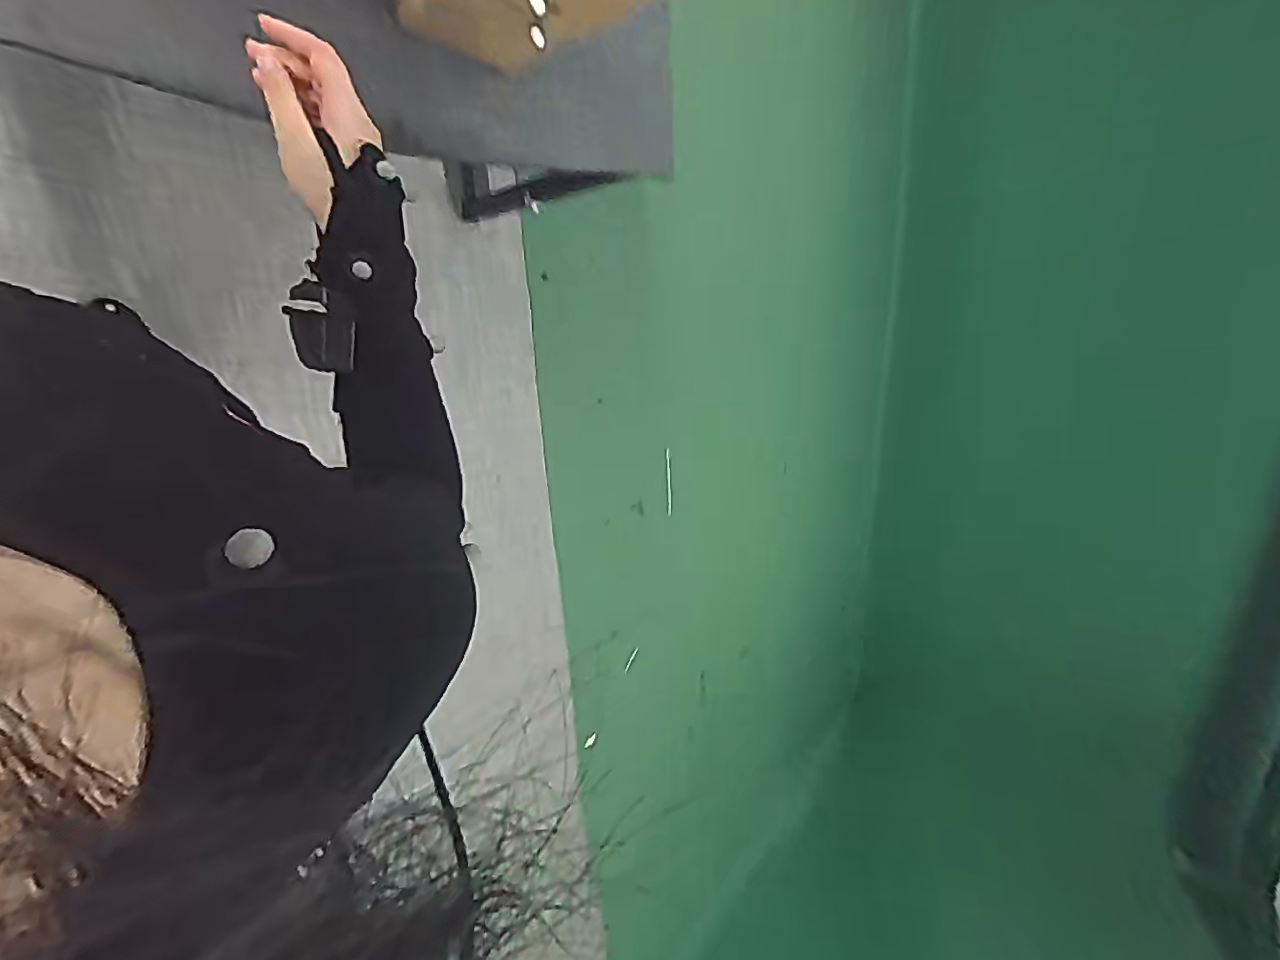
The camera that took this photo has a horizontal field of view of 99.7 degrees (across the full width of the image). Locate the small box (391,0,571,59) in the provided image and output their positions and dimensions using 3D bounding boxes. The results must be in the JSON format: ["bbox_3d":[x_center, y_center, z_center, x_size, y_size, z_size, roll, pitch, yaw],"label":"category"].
[{"bbox_3d":[-0.197,-0.670,0.677,0.179,0.176,0.168,-14,109,-45],"label":"small box"}]
